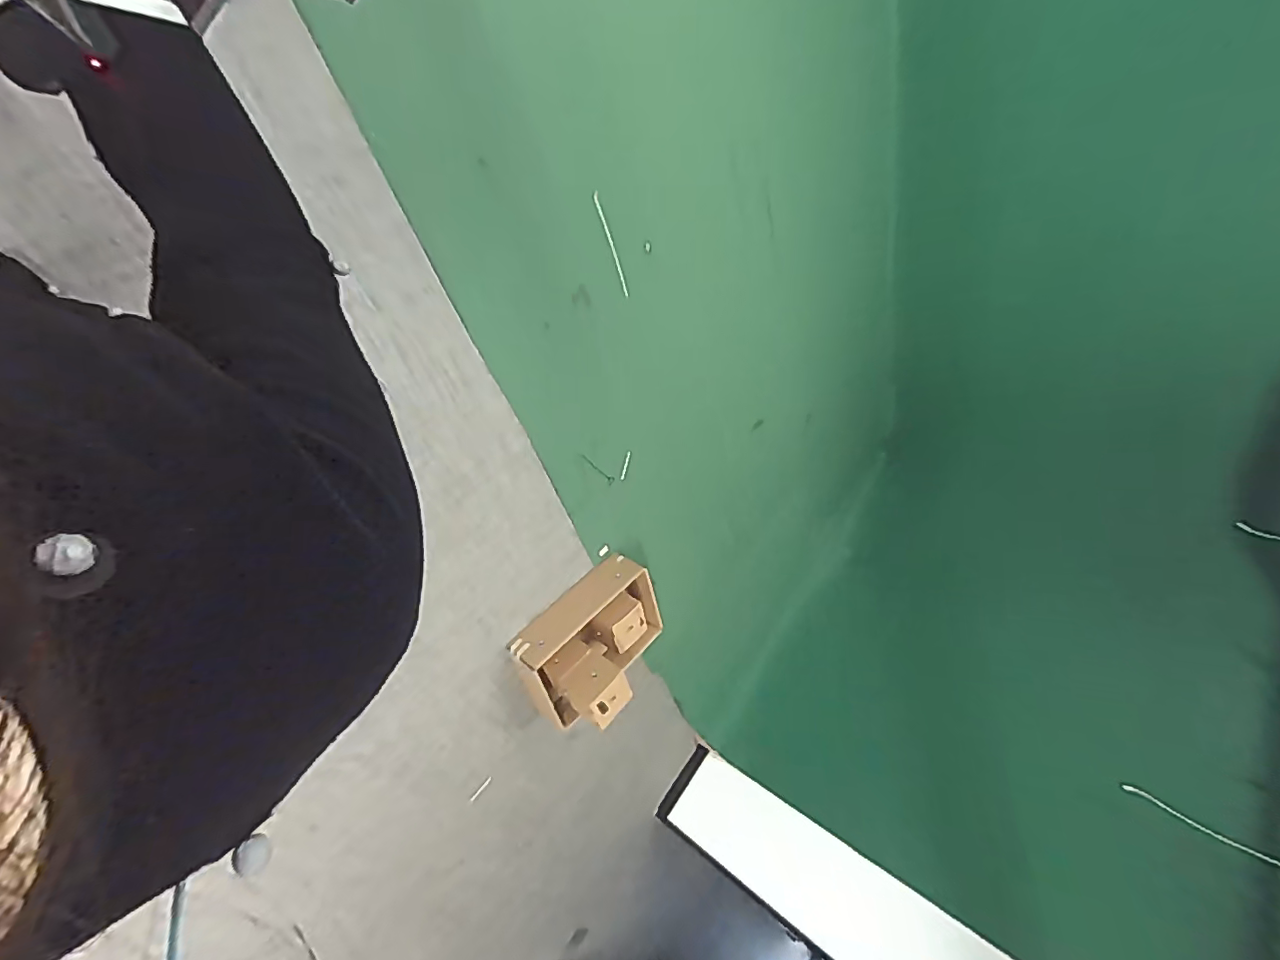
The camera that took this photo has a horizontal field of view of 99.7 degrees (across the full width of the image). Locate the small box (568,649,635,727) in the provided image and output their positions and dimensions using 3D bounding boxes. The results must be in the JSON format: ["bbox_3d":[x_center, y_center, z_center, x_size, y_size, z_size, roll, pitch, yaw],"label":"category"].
[{"bbox_3d":[-0.151,0.776,2.032,0.179,0.176,0.168,-40,130,-32],"label":"small box"}]
